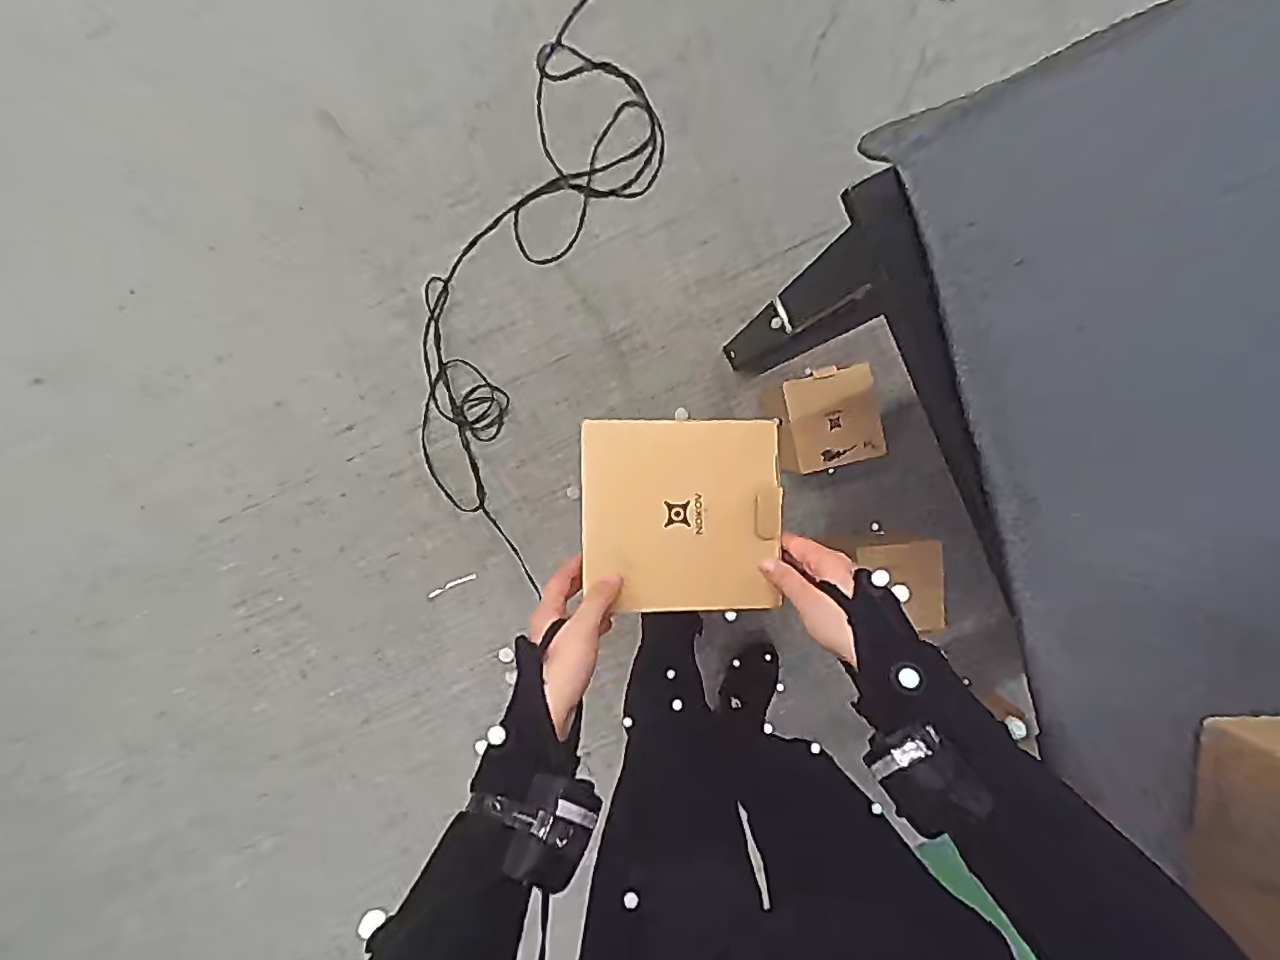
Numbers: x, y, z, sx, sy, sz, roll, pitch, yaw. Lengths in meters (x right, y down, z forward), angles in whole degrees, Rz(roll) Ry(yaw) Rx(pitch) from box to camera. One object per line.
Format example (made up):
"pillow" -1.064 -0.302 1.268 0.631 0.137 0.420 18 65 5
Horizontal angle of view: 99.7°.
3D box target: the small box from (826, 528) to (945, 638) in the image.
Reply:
"small box" 0.488 0.202 1.093 0.168 0.176 0.179 -5 94 -1

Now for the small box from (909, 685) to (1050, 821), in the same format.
"small box" 0.692 0.552 1.123 0.168 0.176 0.179 -19 96 2

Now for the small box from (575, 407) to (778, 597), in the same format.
"small box" 0.025 0.026 0.543 0.179 0.176 0.168 0 86 -6

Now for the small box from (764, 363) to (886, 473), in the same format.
"small box" 0.354 -0.117 1.065 0.168 0.176 0.179 -13 94 1
